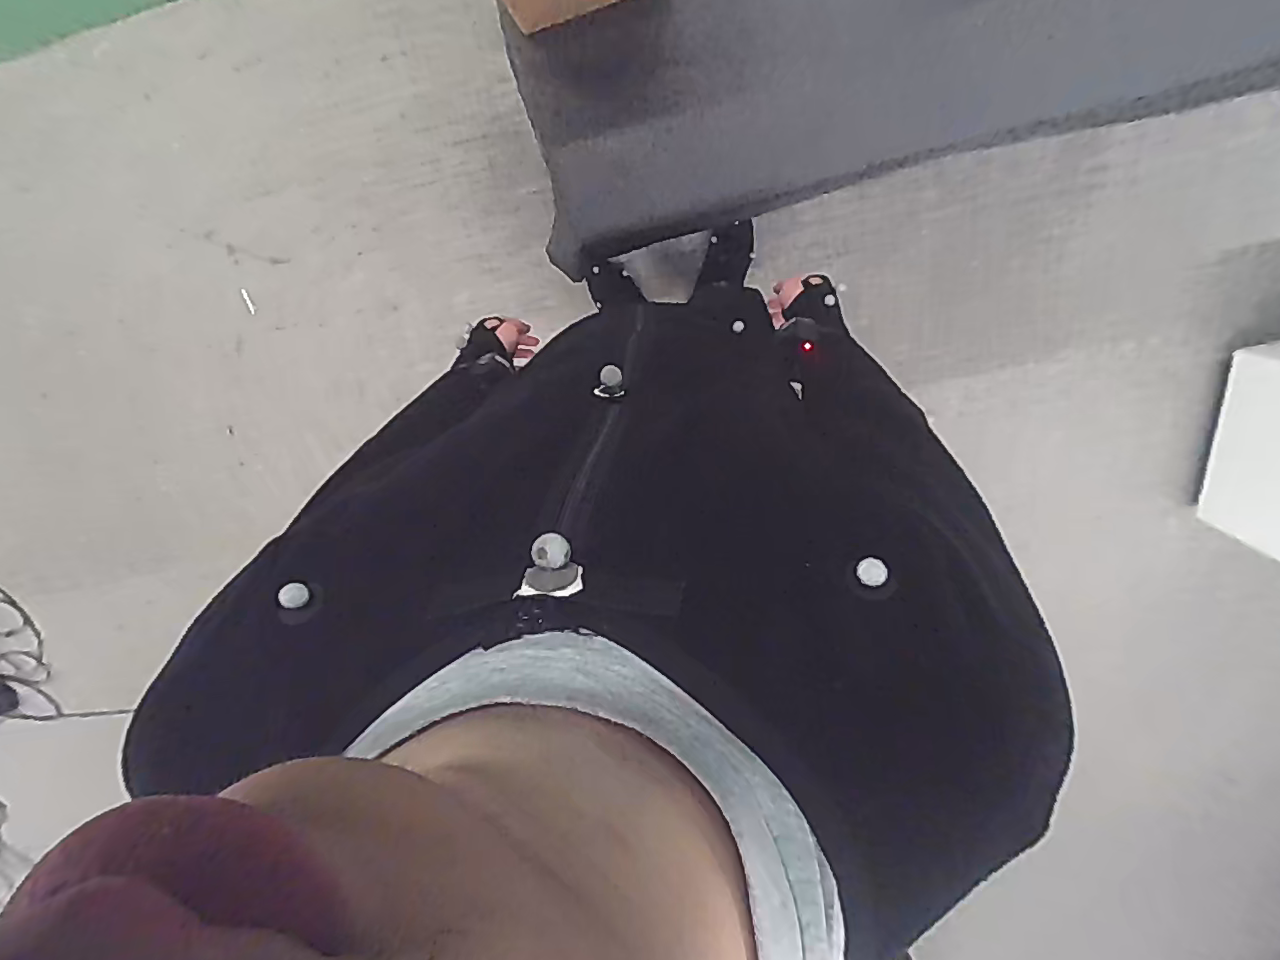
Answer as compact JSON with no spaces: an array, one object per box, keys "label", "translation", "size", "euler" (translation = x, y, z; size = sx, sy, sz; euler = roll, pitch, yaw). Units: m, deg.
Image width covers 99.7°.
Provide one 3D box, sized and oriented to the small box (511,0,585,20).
[{"label":"small box","translation":[-0.067,-0.557,0.481],"size":[0.179,0.176,0.168],"euler":[-16,114,4]}]
